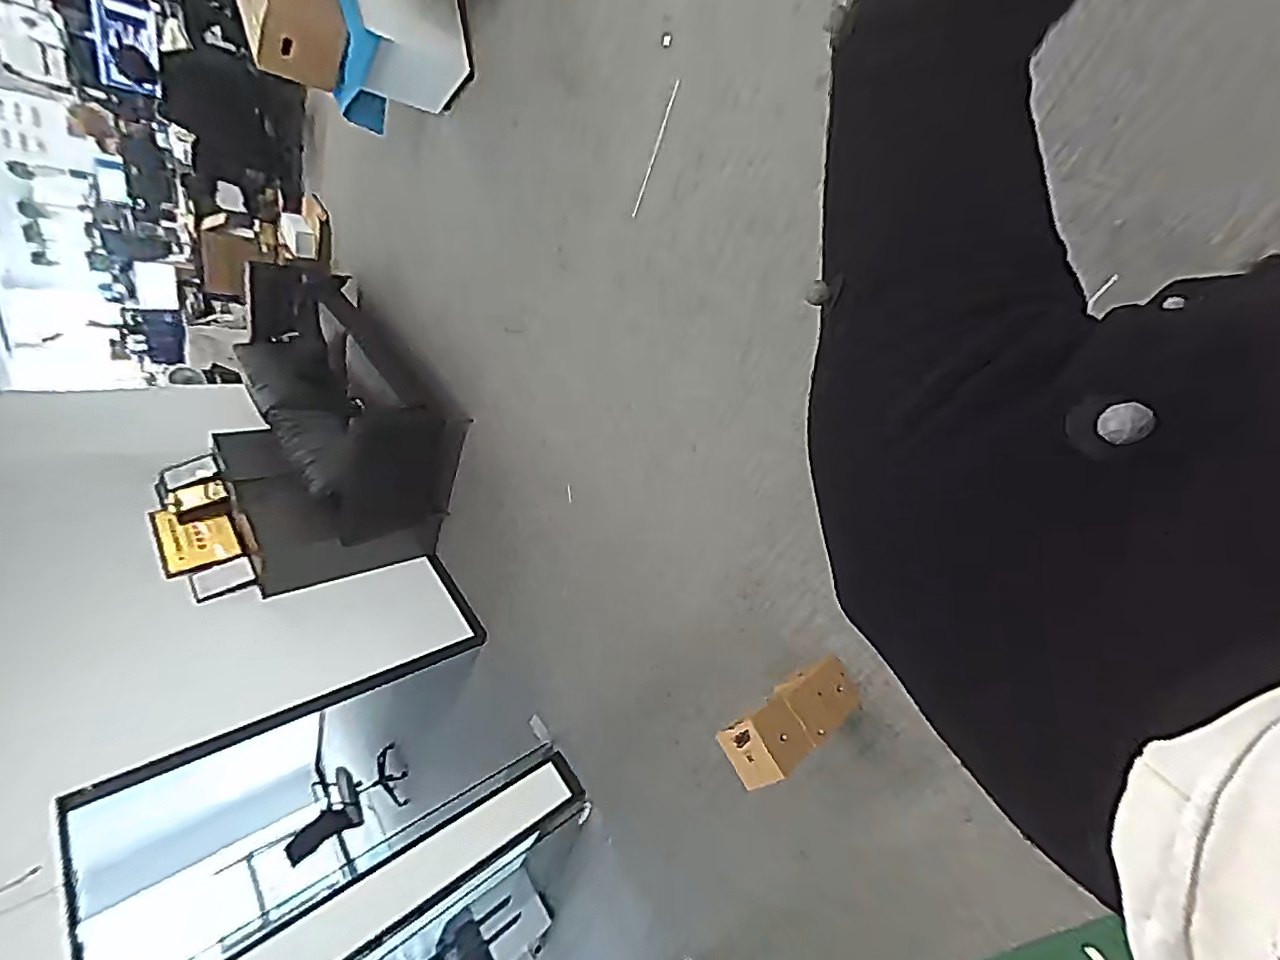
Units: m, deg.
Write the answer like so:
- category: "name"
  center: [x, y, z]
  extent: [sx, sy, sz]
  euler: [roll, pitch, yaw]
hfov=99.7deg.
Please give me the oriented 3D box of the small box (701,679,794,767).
- category: "small box"
  center: [0.324, 0.723, 1.631]
  extent: [0.179, 0.176, 0.168]
  euler: [57, 133, 17]

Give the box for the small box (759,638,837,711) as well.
- category: "small box"
  center: [0.551, 0.666, 1.862]
  extent: [0.179, 0.176, 0.168]
  euler: [-40, 71, 43]
